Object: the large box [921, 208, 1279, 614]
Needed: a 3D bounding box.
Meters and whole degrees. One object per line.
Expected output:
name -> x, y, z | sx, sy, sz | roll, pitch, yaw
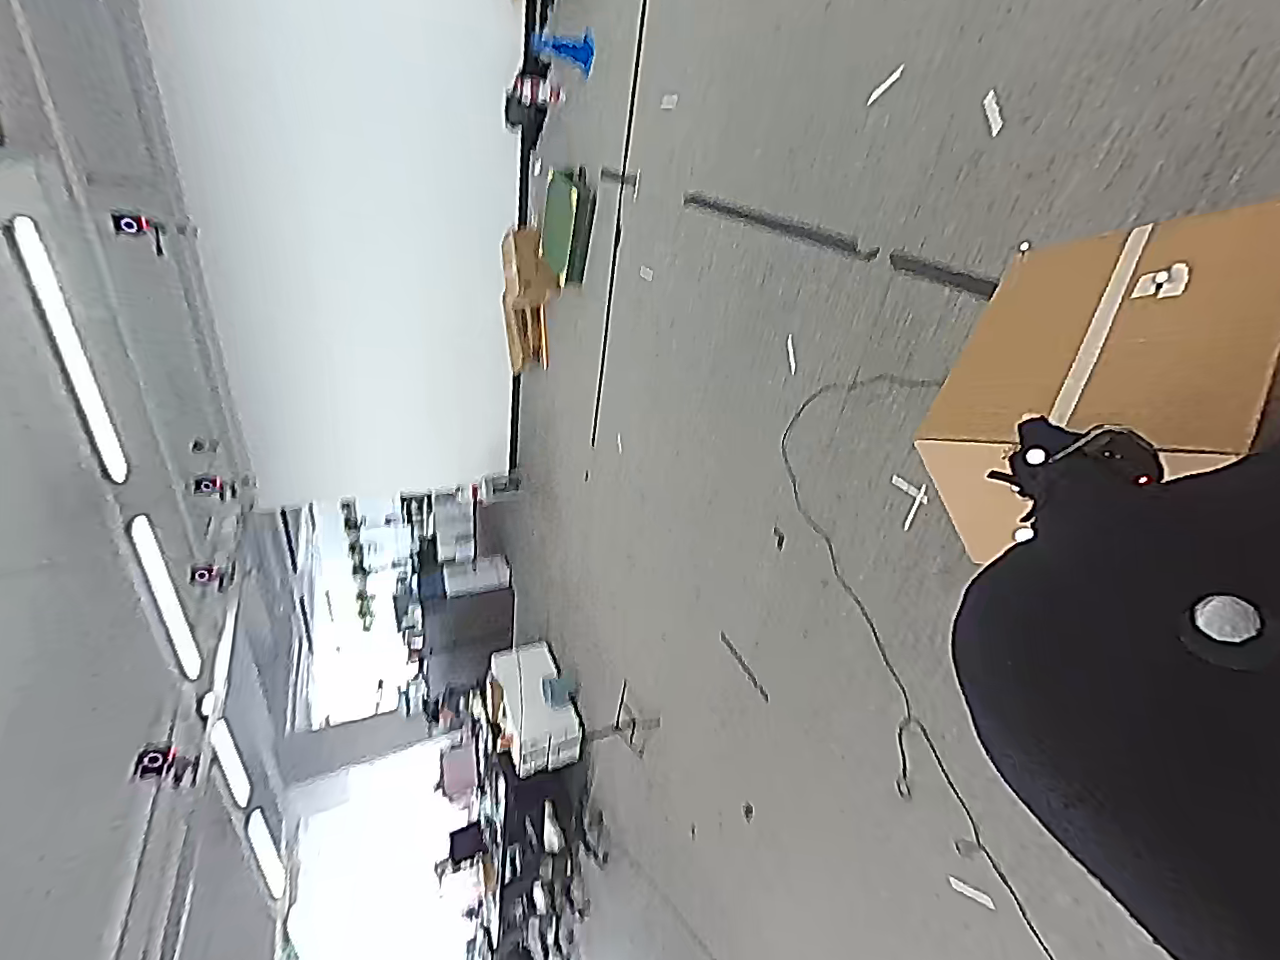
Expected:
large box -> 0.669, -0.088, 0.760 | 0.320, 0.408, 0.320 | 9, 147, 53
